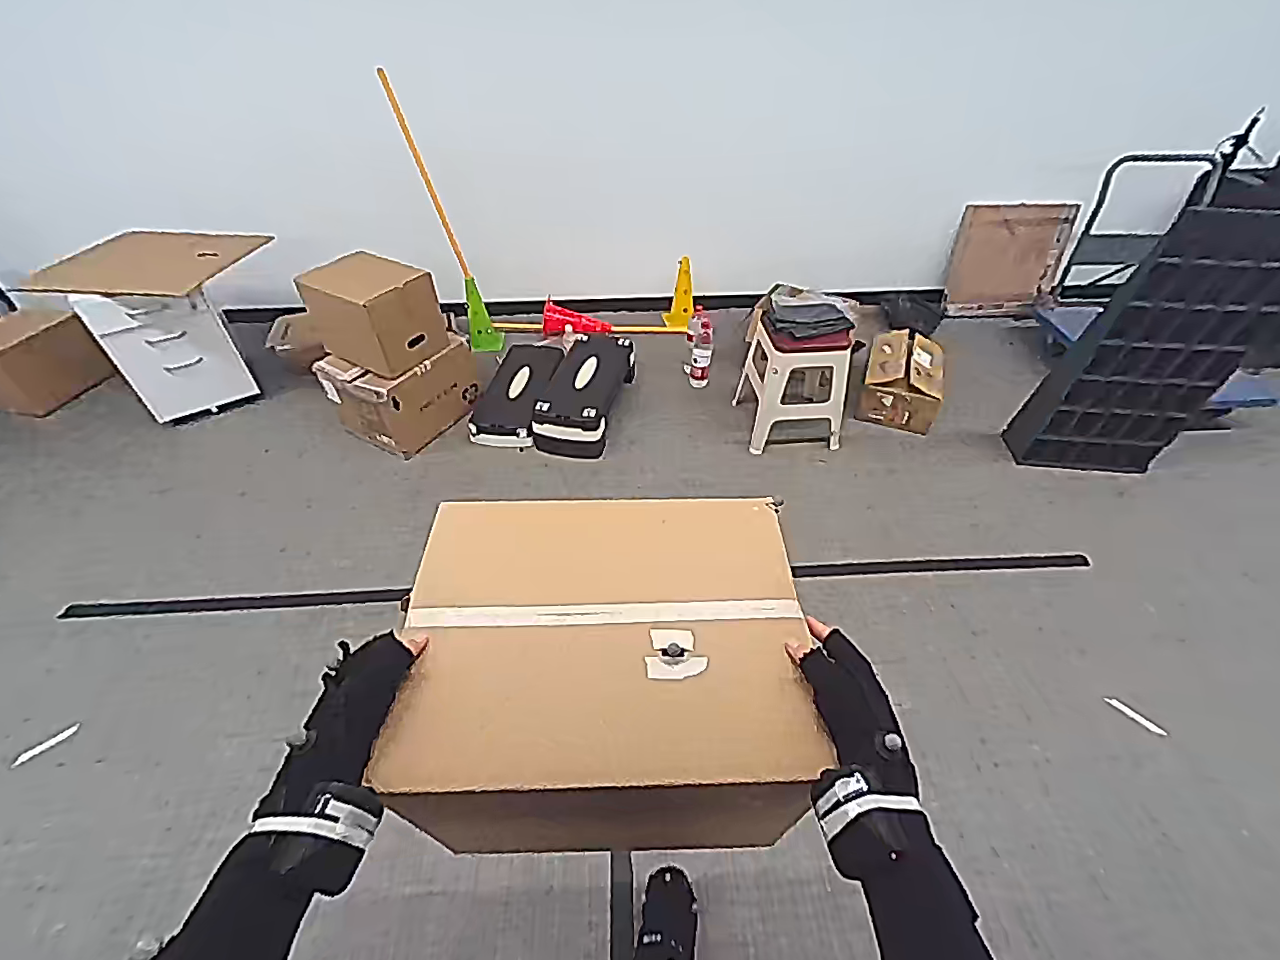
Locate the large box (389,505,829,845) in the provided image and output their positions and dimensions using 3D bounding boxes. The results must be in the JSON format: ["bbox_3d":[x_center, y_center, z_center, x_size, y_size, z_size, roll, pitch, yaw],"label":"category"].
[{"bbox_3d":[-0.035,0.247,0.688,0.408,0.320,0.320,0,48,-2],"label":"large box"}]
